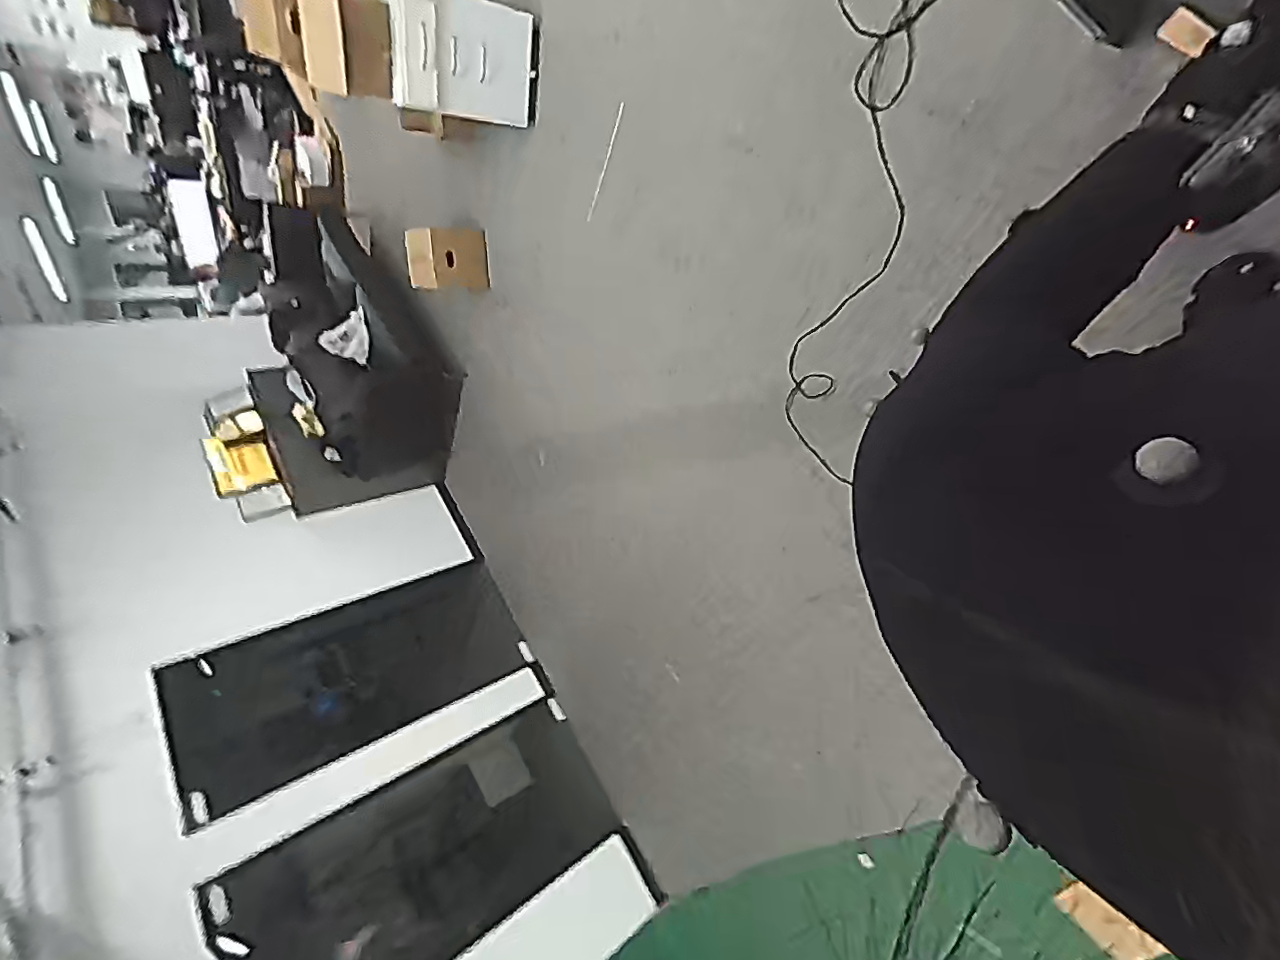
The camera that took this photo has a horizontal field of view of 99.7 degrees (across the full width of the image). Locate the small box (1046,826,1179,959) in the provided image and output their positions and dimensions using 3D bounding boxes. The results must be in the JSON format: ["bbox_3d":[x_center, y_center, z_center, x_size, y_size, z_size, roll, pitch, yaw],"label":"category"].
[{"bbox_3d":[1.128,0.975,1.289,0.168,0.176,0.179,42,134,35],"label":"small box"}]

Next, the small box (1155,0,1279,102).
[{"bbox_3d":[0.975,-0.731,0.841,0.168,0.176,0.179,57,140,20],"label":"small box"}]
